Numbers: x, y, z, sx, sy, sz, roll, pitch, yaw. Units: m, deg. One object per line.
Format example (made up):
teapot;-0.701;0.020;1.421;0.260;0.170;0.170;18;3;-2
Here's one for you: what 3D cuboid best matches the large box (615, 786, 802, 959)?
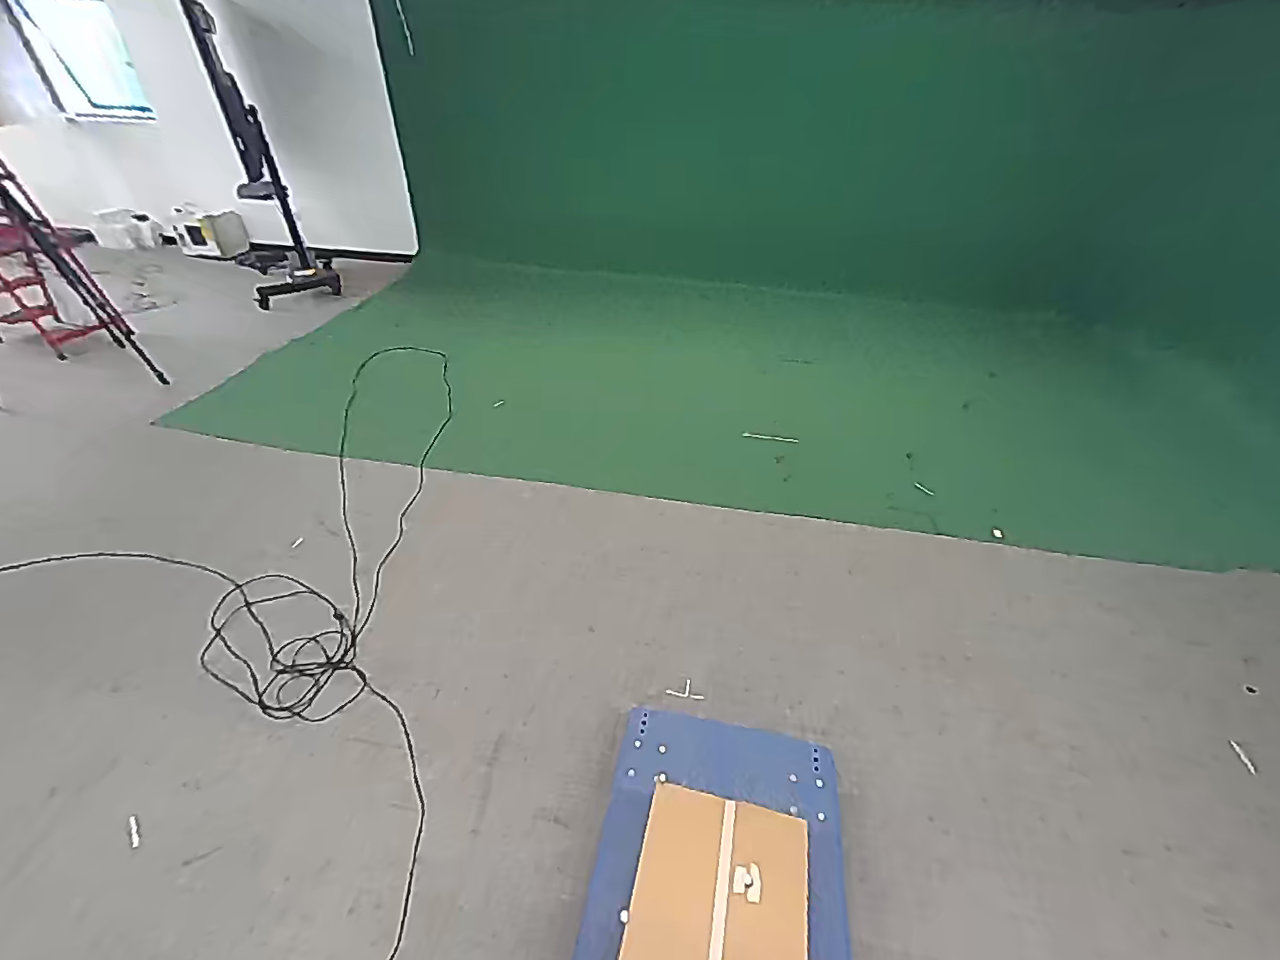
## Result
large box;0.128;0.901;1.047;0.320;0.320;0.408;10;38;10
